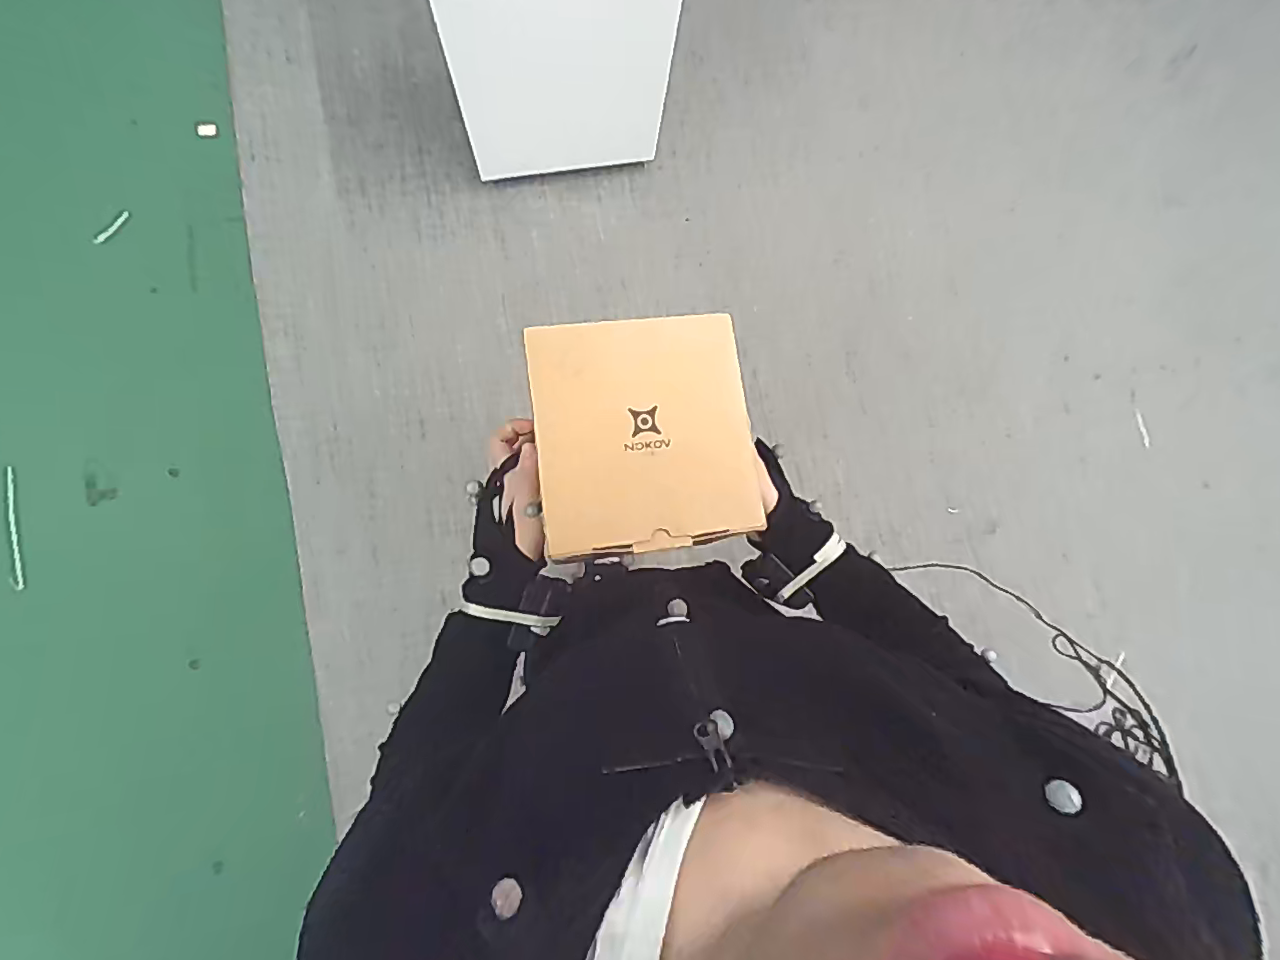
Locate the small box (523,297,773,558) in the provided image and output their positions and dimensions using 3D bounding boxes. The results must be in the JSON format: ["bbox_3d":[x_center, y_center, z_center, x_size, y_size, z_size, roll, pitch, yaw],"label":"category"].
[{"bbox_3d":[-0.007,-0.033,0.466,0.168,0.176,0.179,-7,81,-9],"label":"small box"}]
